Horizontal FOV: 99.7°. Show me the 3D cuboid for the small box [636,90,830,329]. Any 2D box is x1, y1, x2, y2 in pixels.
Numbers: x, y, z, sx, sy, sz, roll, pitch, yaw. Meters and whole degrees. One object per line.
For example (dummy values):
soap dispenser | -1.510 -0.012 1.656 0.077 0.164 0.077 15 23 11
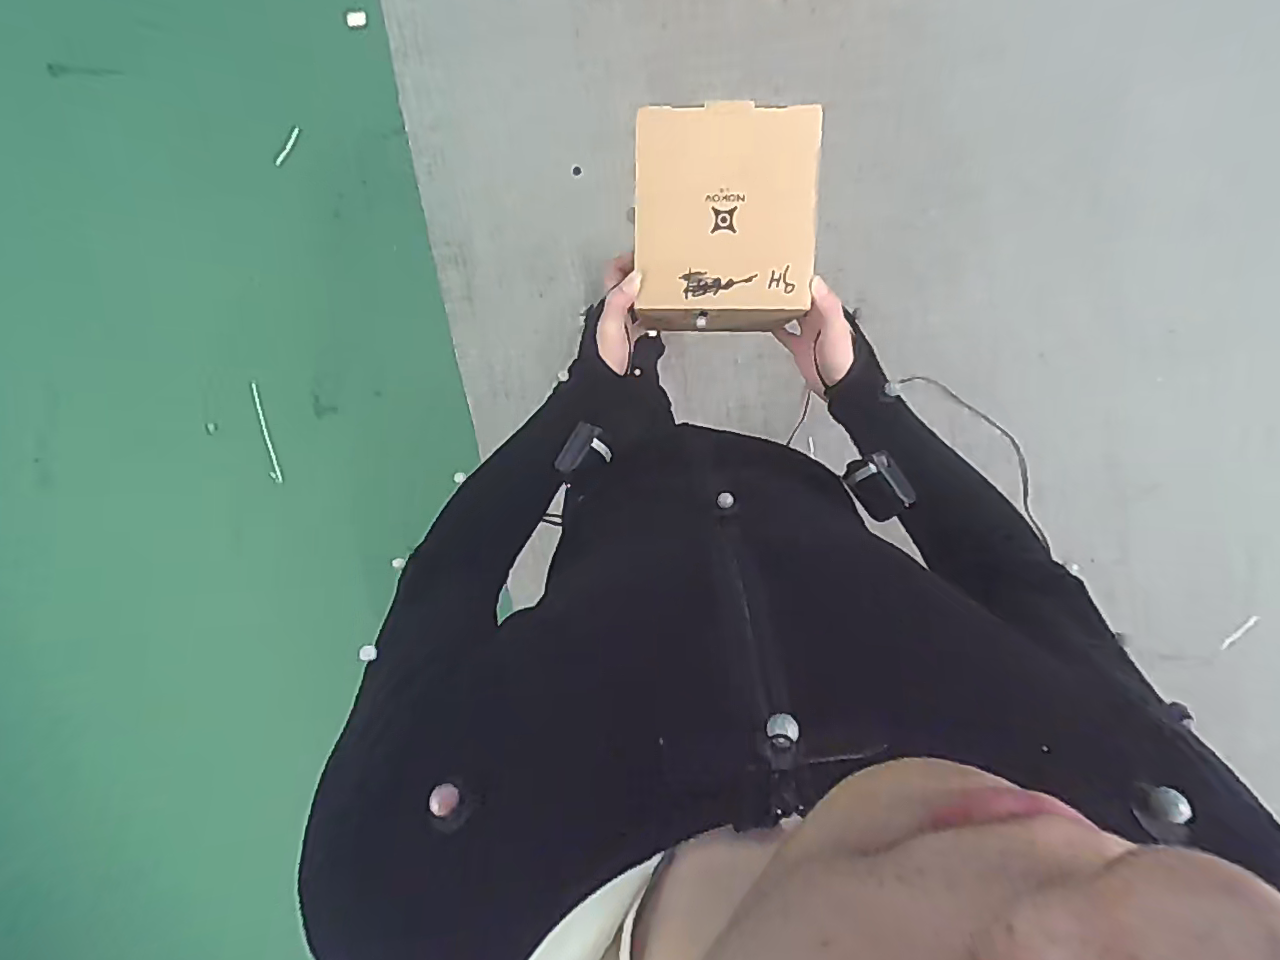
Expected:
small box | 0.083 -0.260 0.557 0.168 0.176 0.179 2 98 3
